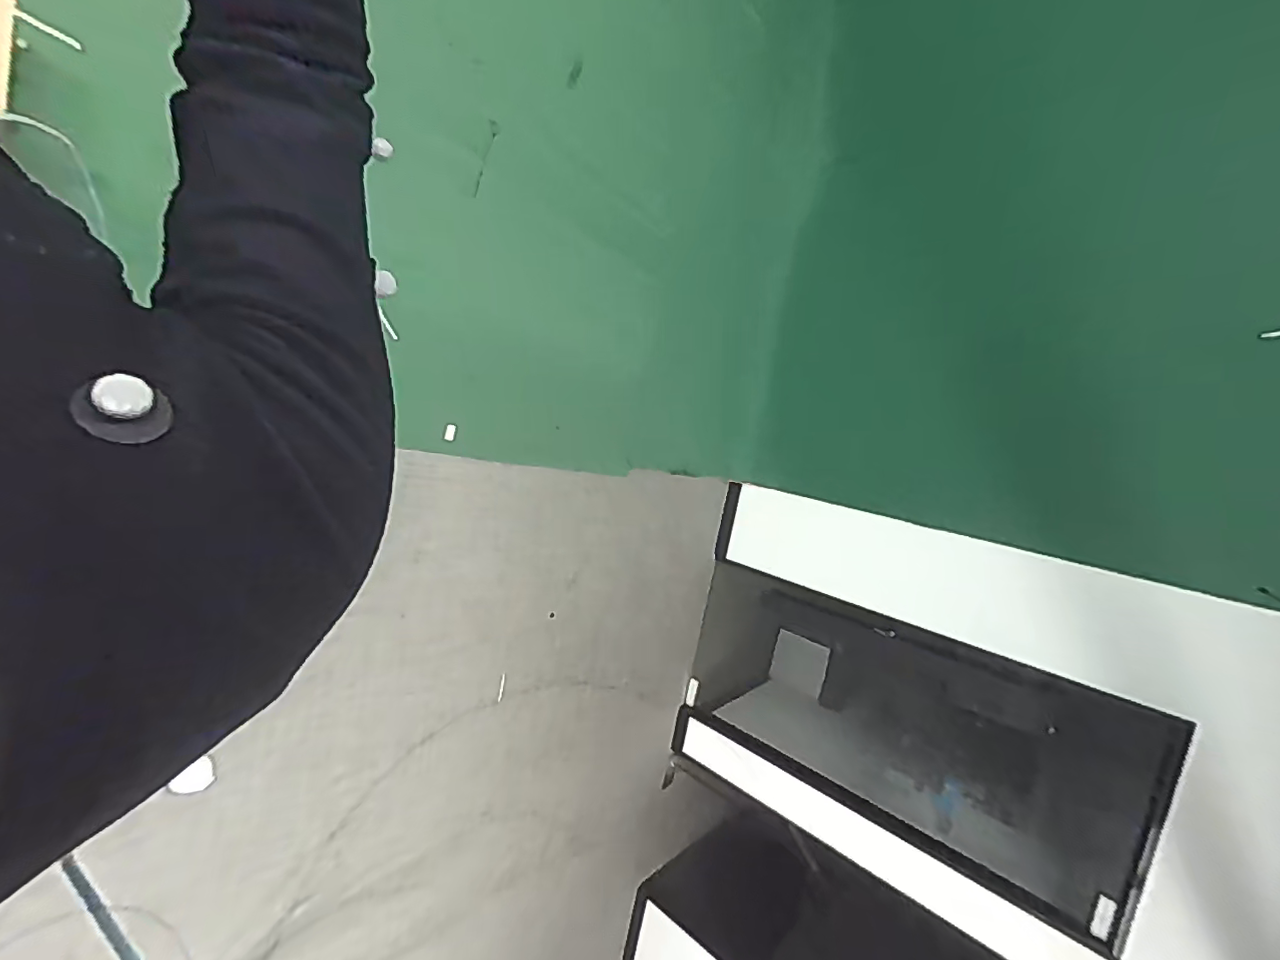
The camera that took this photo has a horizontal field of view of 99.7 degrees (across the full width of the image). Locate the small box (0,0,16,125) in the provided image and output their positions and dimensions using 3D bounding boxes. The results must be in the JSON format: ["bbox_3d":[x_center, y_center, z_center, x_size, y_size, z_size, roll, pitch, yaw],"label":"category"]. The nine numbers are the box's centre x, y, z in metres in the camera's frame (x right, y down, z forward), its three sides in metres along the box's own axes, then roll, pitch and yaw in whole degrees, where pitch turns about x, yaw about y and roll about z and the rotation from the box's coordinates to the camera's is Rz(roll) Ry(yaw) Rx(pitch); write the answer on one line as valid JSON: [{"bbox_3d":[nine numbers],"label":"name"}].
[{"bbox_3d":[-1.051,-0.653,0.789,0.168,0.176,0.179,5,99,-52],"label":"small box"}]
